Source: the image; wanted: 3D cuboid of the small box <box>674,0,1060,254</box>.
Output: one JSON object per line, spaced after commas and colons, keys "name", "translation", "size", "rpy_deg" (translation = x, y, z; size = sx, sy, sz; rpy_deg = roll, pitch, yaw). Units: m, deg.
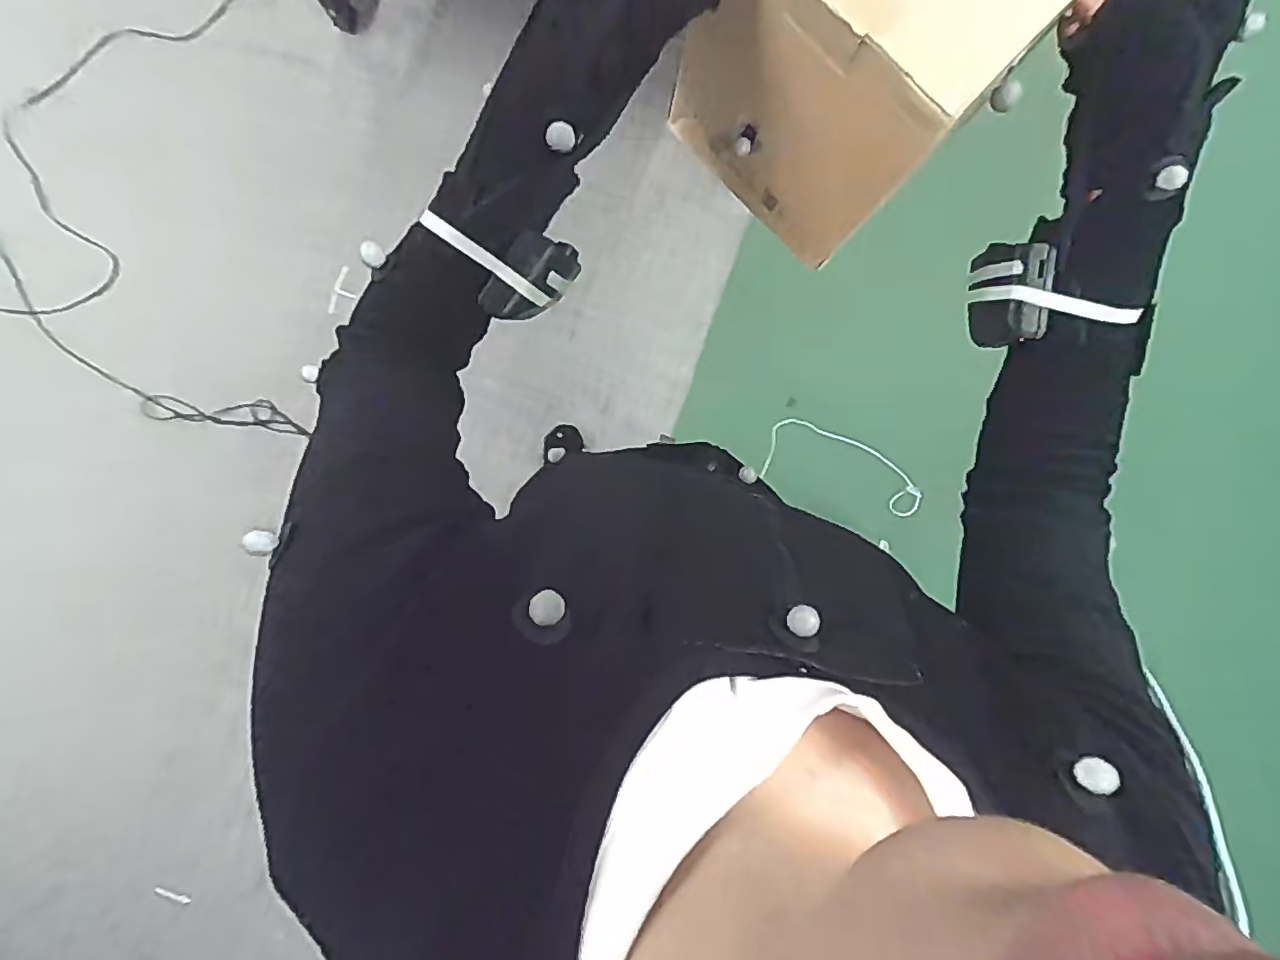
{"name": "small box", "translation": [0.141, -0.292, 0.351], "size": [0.168, 0.176, 0.179], "rpy_deg": [44, 84, -1]}
